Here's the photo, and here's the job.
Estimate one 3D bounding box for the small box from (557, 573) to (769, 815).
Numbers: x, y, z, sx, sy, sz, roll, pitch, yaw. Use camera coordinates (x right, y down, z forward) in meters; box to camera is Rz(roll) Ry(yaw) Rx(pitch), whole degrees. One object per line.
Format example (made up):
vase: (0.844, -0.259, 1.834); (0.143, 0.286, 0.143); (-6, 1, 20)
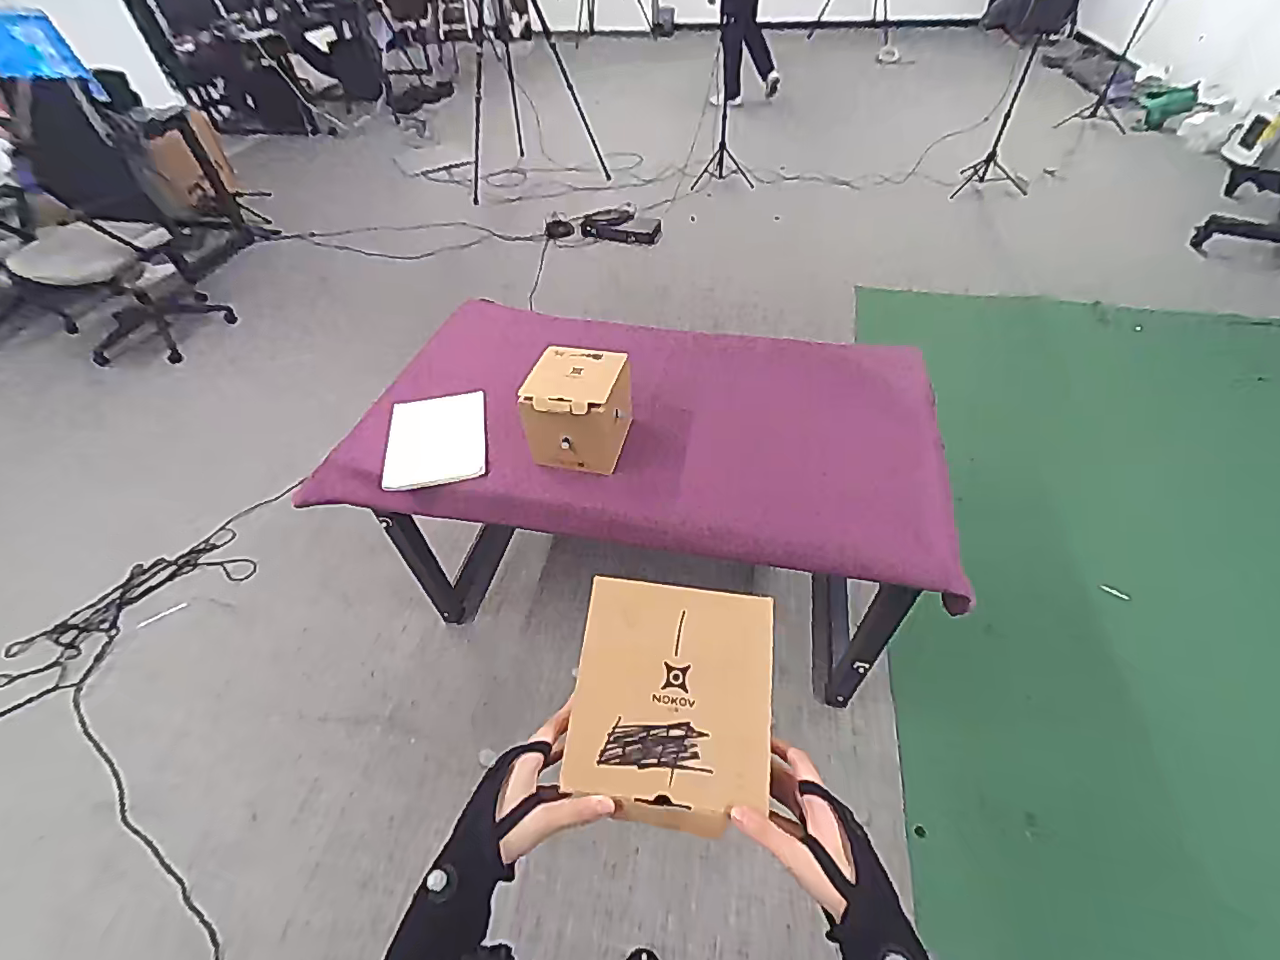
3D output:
small box: (0.026, 0.209, 0.533); (0.168, 0.176, 0.179); (7, 63, 3)

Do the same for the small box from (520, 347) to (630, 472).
small box: (-0.117, -0.137, 1.071); (0.168, 0.176, 0.179); (9, 50, 10)
